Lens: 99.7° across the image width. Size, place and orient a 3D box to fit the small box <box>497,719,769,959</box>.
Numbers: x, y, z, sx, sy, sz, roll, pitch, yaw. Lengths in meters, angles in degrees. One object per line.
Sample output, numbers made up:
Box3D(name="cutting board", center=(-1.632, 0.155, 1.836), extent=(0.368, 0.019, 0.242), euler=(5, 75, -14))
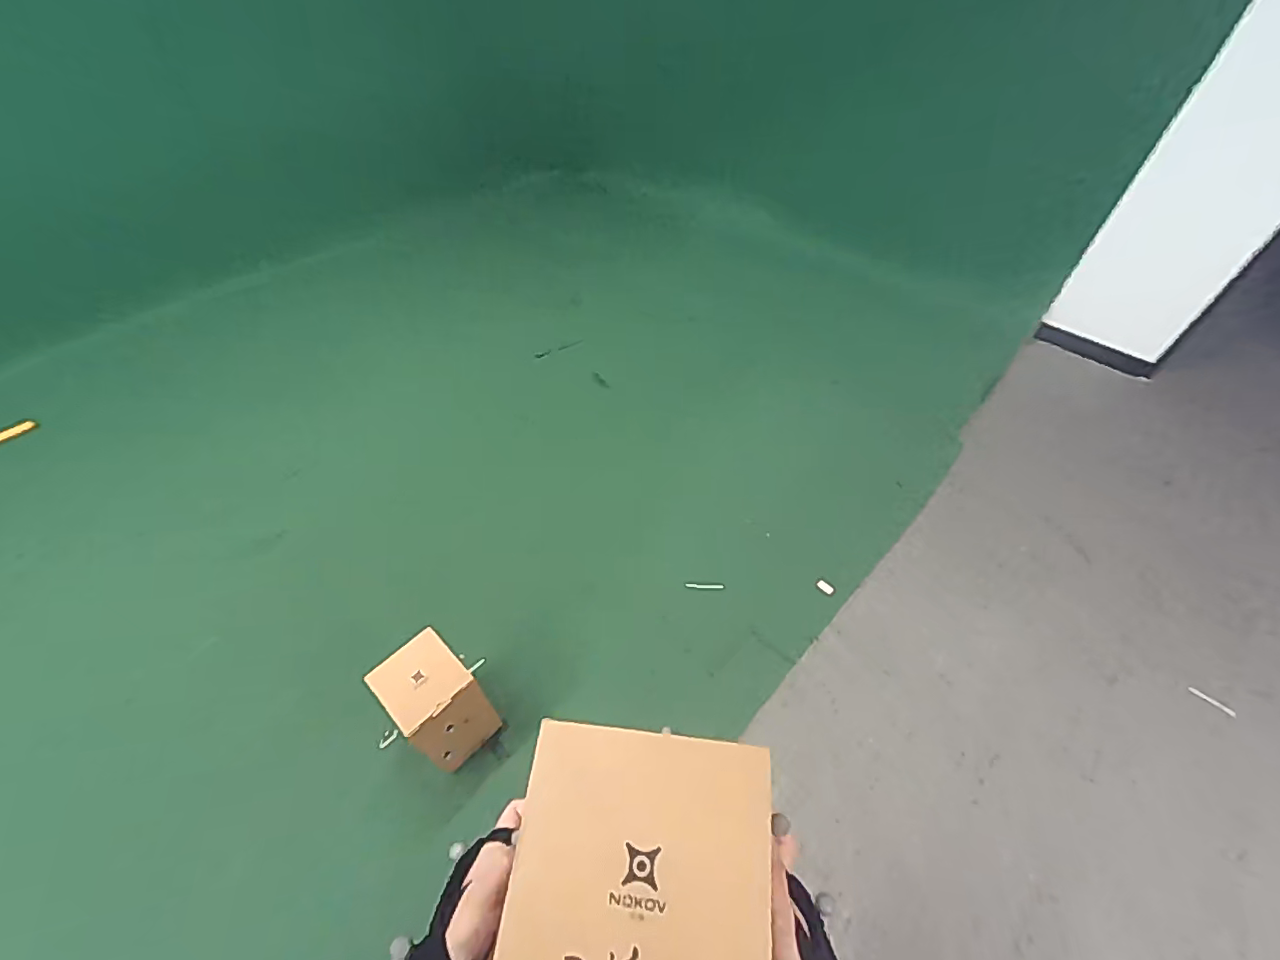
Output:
Box3D(name="small box", center=(0.006, 0.298, 0.414), extent=(0.168, 0.176, 0.179), euler=(2, 58, 8))

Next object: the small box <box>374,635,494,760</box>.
Box3D(name="small box", center=(-0.458, 0.494, 1.221), extent=(0.179, 0.176, 0.168), euler=(35, 58, 26))
